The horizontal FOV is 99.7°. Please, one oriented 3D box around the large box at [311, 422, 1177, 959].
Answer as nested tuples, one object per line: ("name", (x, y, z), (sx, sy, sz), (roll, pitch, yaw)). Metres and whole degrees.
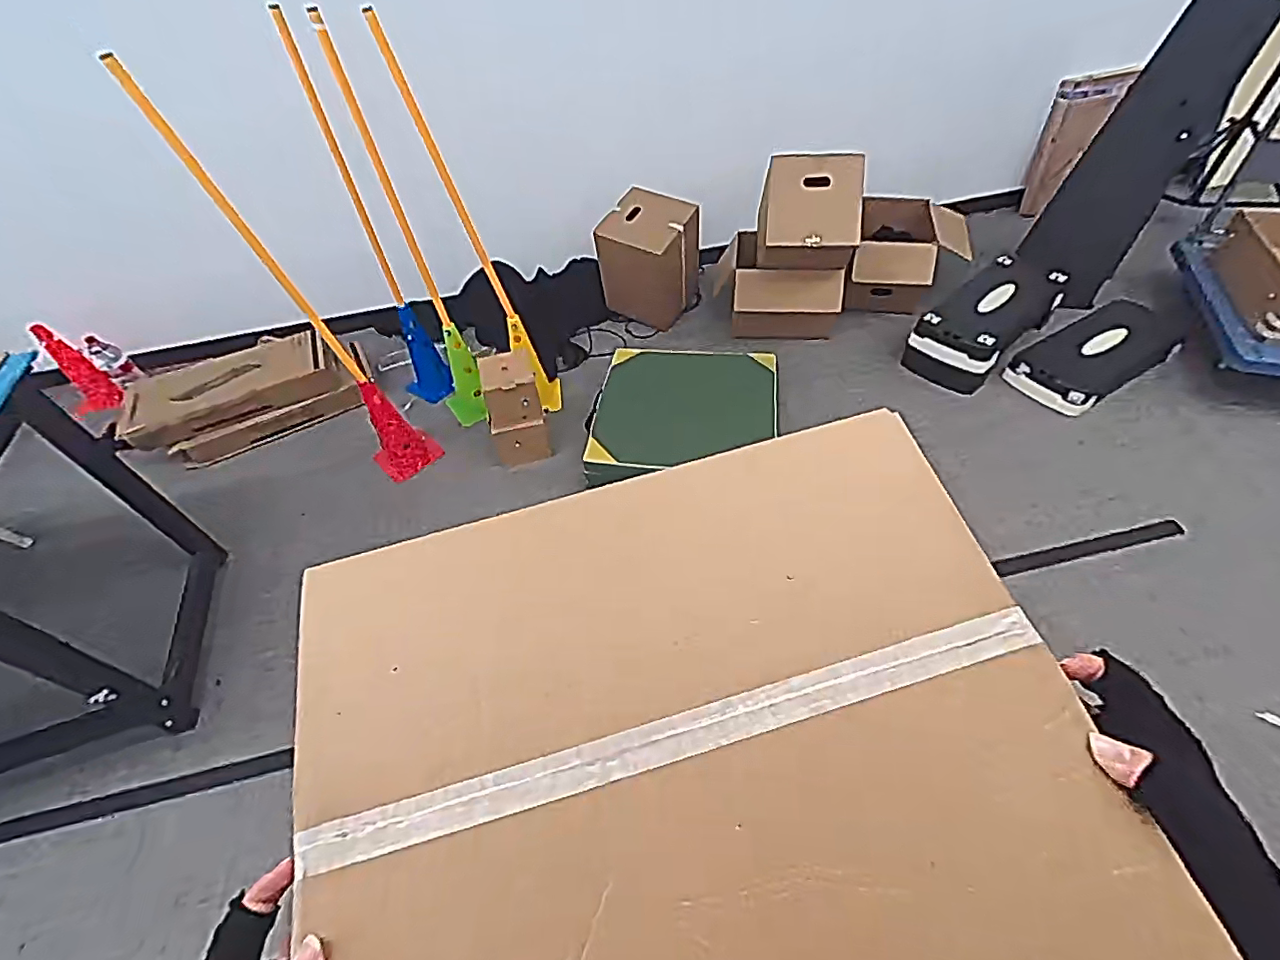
("large box", (0.030, 0.208, 0.432), (0.408, 0.320, 0.320), (-16, 61, -3))
